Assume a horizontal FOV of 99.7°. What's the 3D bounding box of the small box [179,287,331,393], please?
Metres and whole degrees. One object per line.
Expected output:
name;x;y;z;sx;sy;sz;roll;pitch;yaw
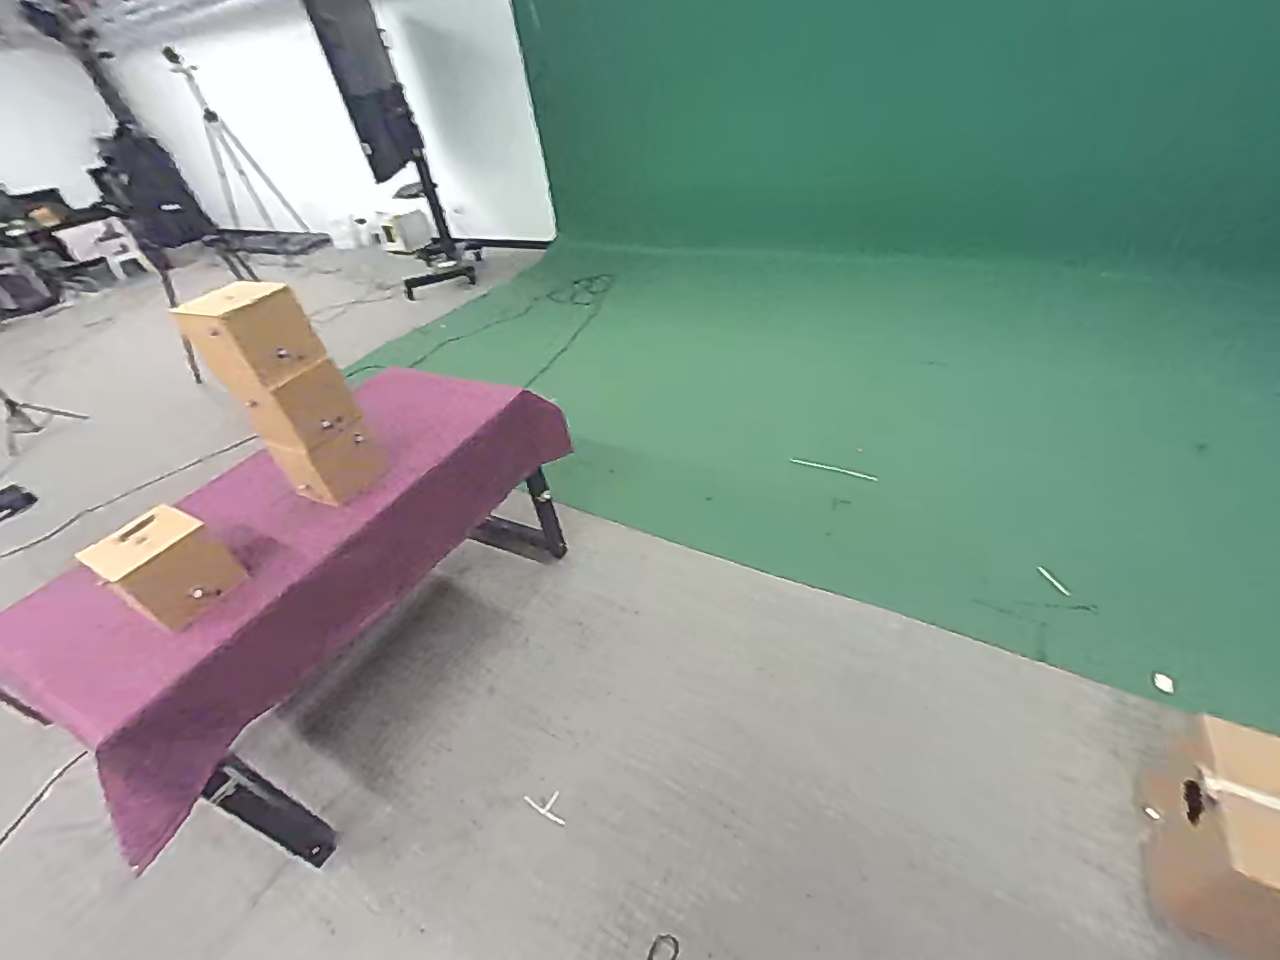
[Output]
small box;-0.825;-0.305;1.174;0.179;0.176;0.168;11;44;23

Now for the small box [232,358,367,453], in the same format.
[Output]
small box;-0.795;-0.181;1.275;0.179;0.176;0.168;12;45;25

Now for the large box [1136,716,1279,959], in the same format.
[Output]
large box;1.276;0.734;1.024;0.408;0.320;0.320;15;45;26

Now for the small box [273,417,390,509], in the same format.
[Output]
small box;-0.769;-0.056;1.377;0.168;0.176;0.179;12;44;26

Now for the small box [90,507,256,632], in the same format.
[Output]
small box;-0.958;0.187;1.122;0.179;0.176;0.168;14;45;27
